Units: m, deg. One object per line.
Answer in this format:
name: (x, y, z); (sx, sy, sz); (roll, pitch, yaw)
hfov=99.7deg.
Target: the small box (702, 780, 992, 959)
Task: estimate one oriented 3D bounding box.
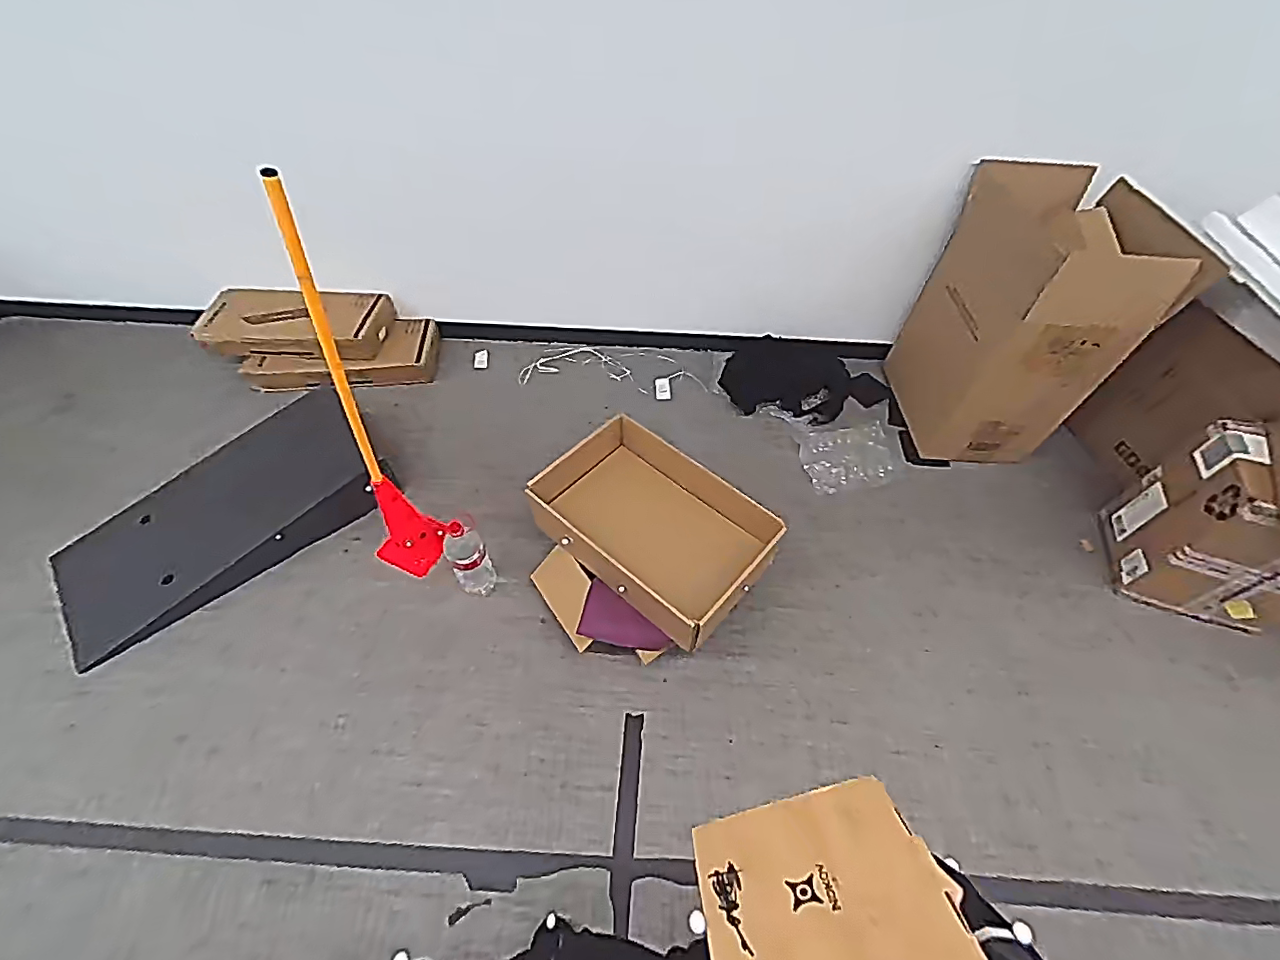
small box: (0.163, 0.390, 0.434); (0.179, 0.176, 0.168); (-17, 13, 2)
